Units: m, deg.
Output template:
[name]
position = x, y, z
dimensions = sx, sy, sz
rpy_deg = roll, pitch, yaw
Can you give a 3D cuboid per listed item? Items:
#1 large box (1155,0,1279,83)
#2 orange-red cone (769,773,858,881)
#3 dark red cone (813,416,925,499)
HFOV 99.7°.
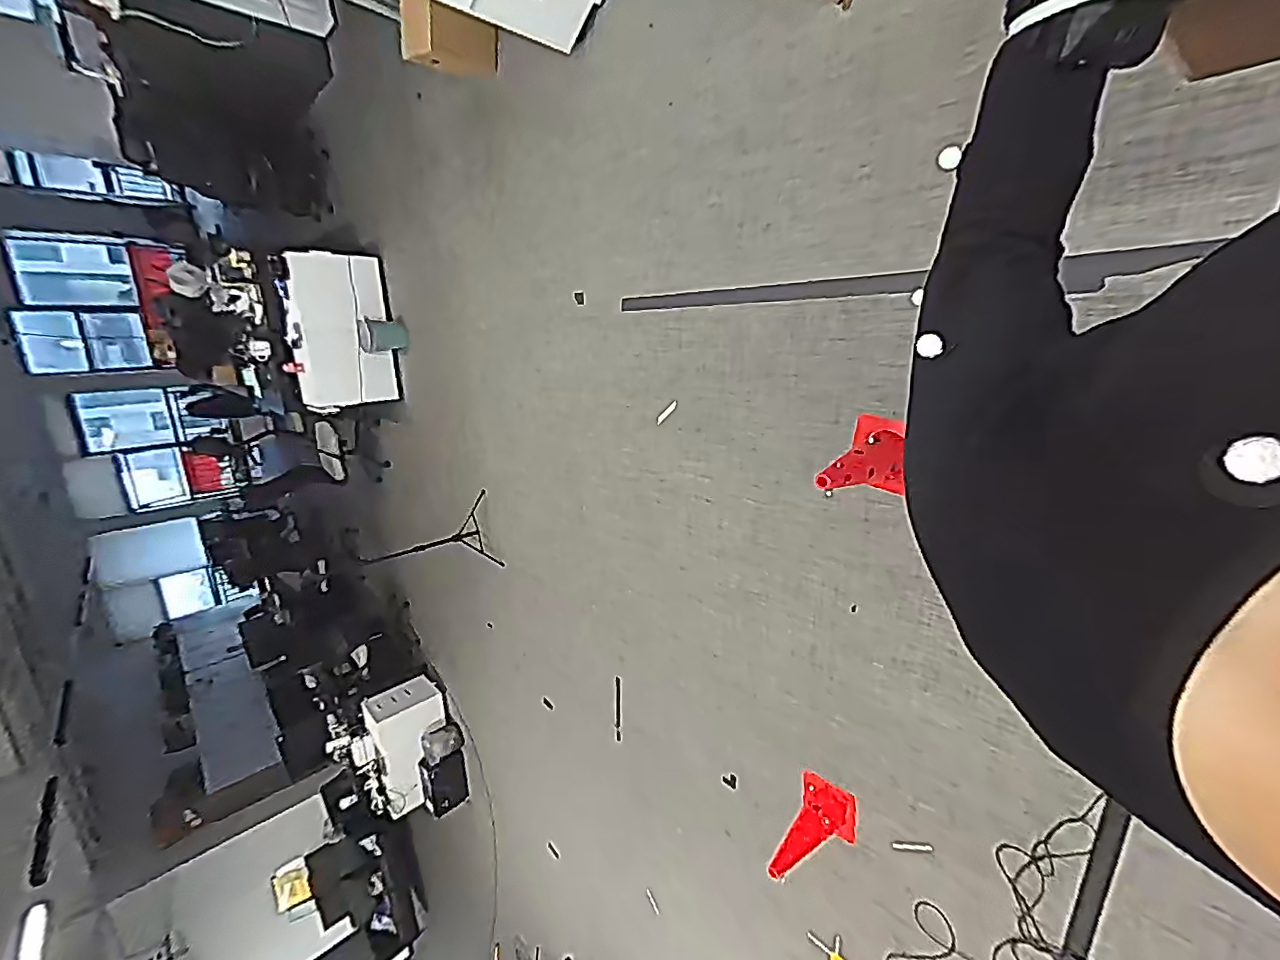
[large box]
position = 0.535, -0.452, 0.242
dimensions = 0.408, 0.320, 0.320
rpy_deg = 12, 117, 45
[orange-red cone]
position = 0.550, 1.198, 1.800
dimensions = 0.198, 0.360, 0.199
rpy_deg = 12, 112, 47
[dark red cone]
position = 0.552, -0.032, 1.379
dimensions = 0.201, 0.394, 0.202
rpy_deg = 22, 118, 41
